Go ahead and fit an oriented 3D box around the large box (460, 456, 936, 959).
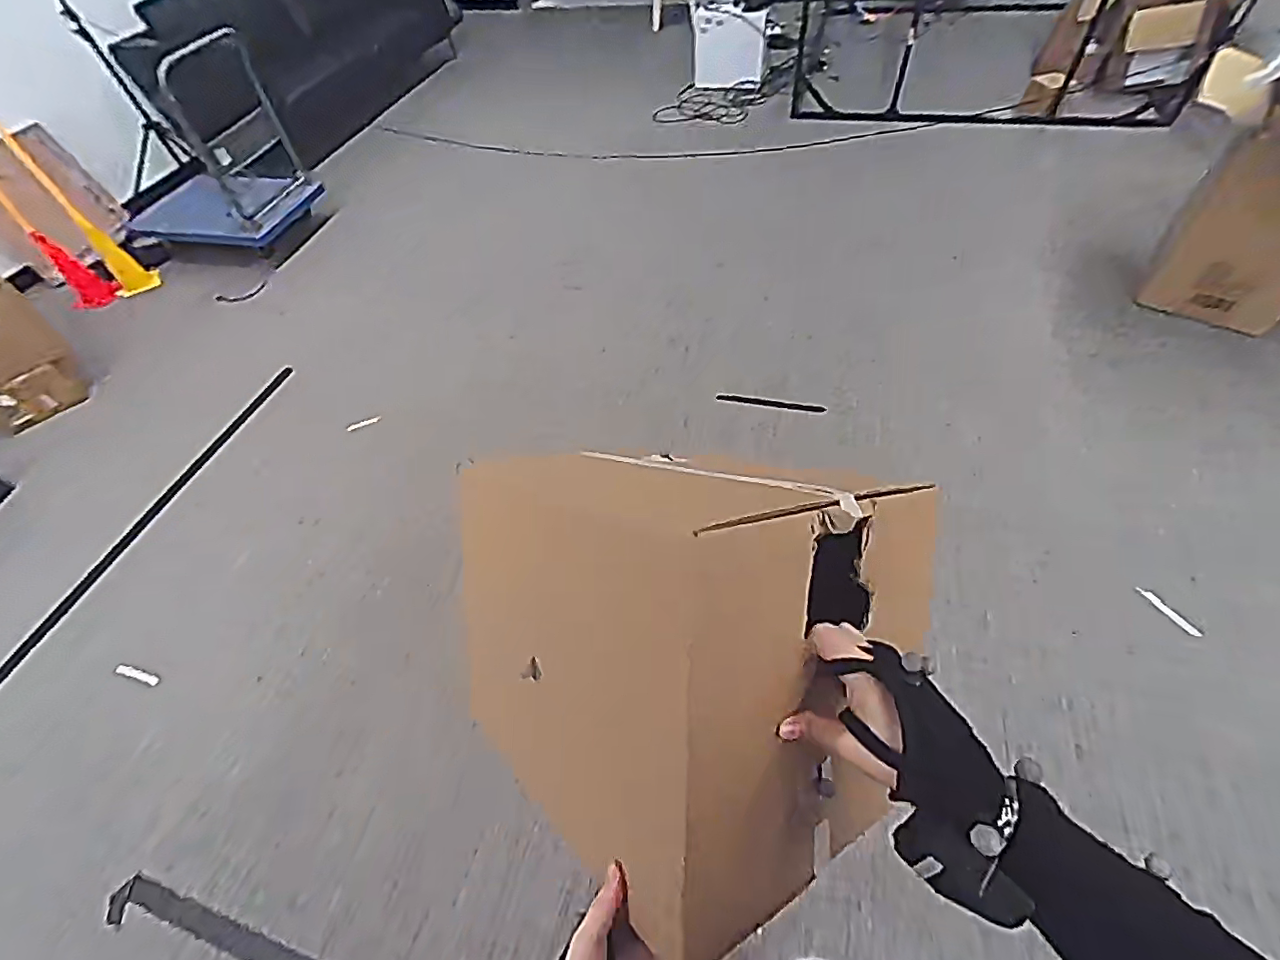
[{"bbox_3d":[0.036,0.148,0.572,0.320,0.320,0.408,-5,8,-36],"label":"large box"}]
